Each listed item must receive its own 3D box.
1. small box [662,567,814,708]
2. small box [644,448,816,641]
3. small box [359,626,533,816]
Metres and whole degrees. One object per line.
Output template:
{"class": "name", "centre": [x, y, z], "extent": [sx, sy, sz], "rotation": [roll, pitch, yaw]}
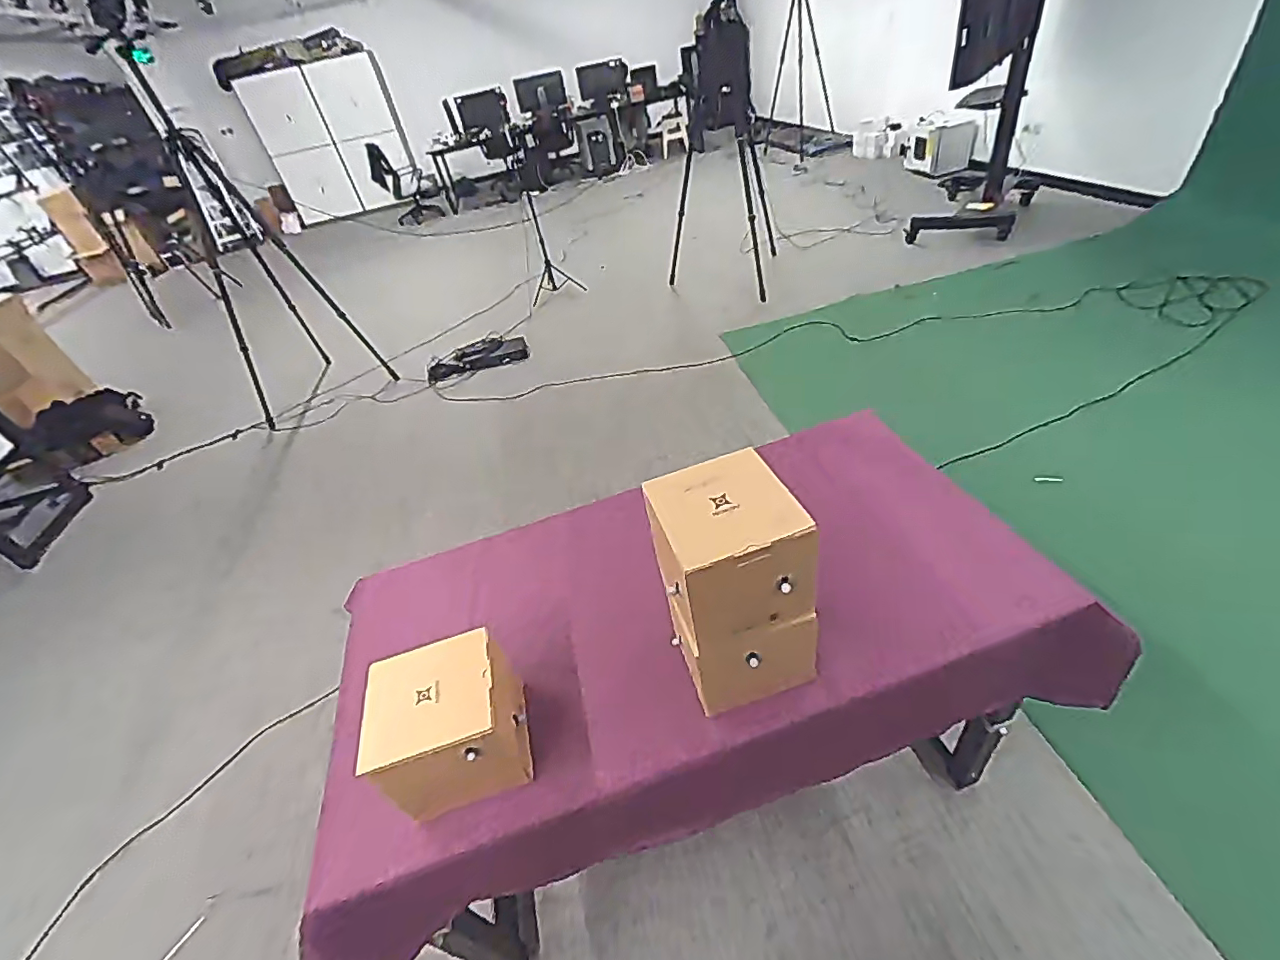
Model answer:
{"class": "small box", "centre": [0.148, 0.217, 0.822], "extent": [0.179, 0.176, 0.168], "rotation": [-17, 40, -4]}
{"class": "small box", "centre": [0.118, 0.091, 0.723], "extent": [0.168, 0.176, 0.179], "rotation": [-18, 39, -7]}
{"class": "small box", "centre": [-0.271, 0.349, 0.783], "extent": [0.179, 0.176, 0.168], "rotation": [-17, 40, -7]}
